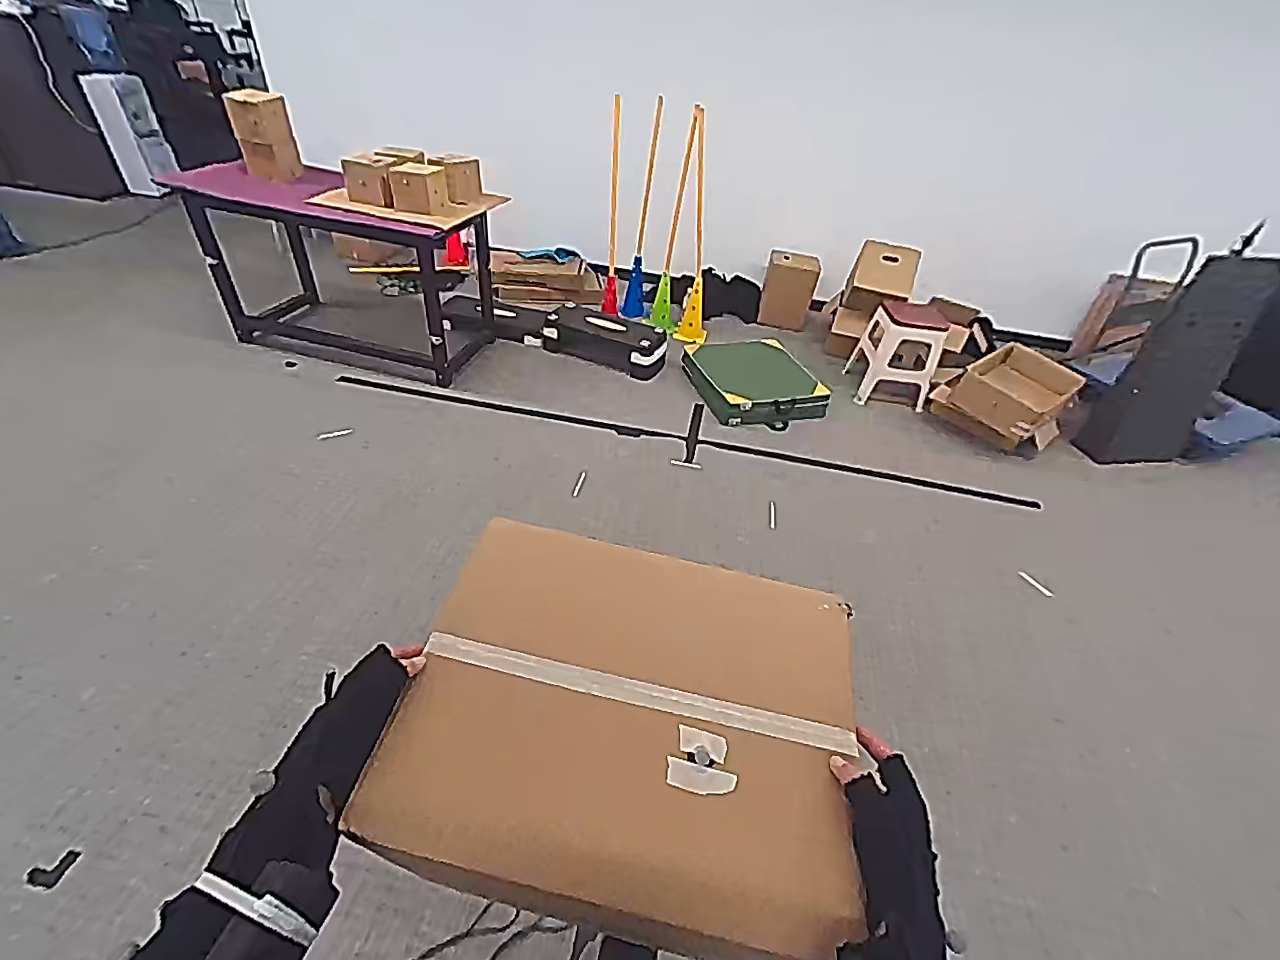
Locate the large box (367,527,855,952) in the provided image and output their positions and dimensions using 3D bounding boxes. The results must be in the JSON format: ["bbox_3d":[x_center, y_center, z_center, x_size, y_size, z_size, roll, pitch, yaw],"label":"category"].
[{"bbox_3d":[-0.016,0.301,0.631,0.408,0.320,0.320,12,49,4],"label":"large box"}]
